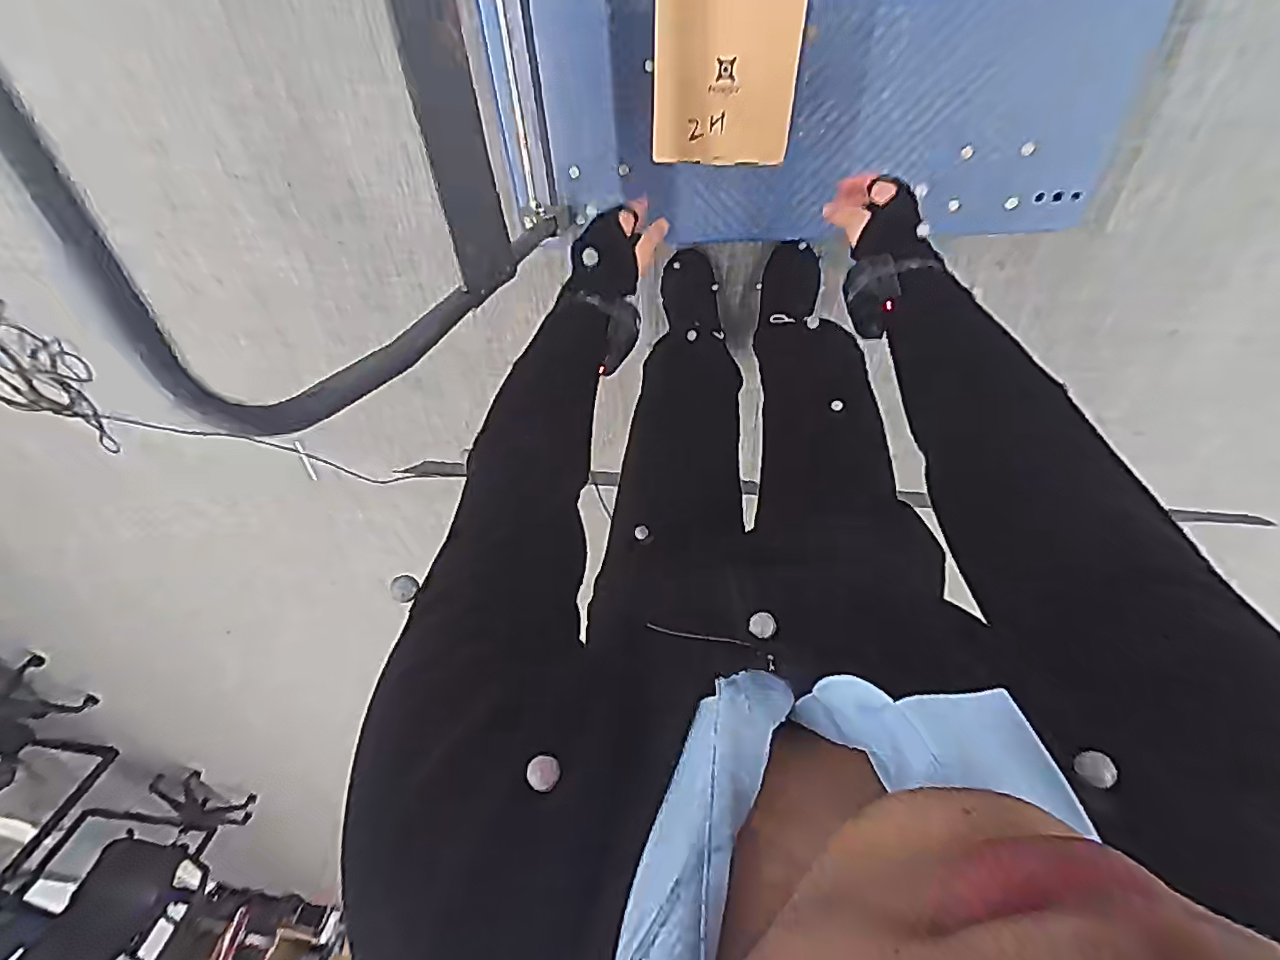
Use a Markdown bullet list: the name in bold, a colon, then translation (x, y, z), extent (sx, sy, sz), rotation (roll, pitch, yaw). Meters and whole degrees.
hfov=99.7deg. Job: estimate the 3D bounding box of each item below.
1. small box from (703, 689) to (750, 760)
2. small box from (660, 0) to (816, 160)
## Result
- **small box**: translation (0.320, 0.906, 2.005), extent (0.168, 0.176, 0.179), rotation (2, 127, 8)
- **small box**: translation (0.116, -0.520, 0.686), extent (0.168, 0.176, 0.179), rotation (5, 129, 6)
